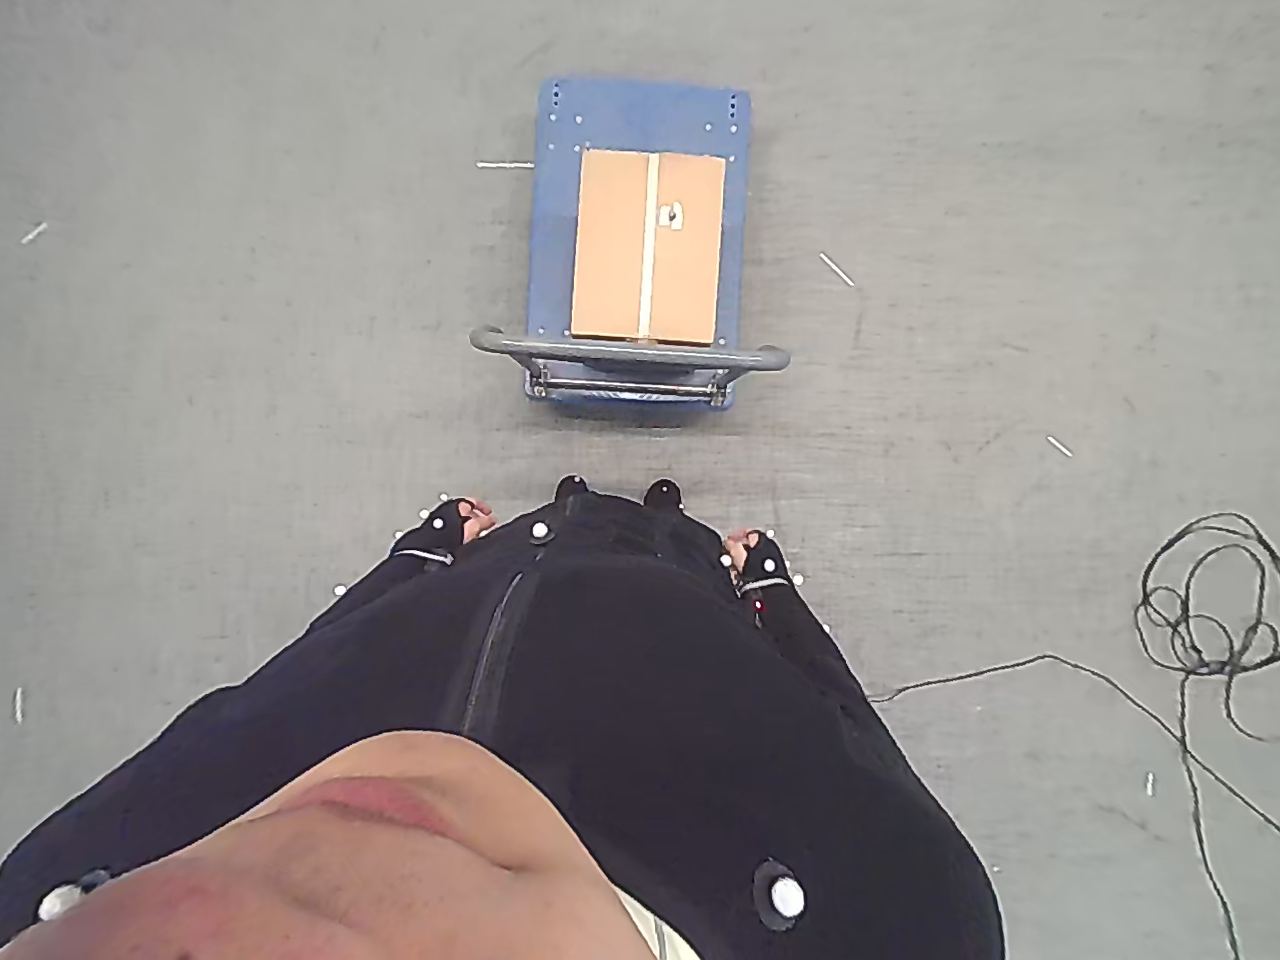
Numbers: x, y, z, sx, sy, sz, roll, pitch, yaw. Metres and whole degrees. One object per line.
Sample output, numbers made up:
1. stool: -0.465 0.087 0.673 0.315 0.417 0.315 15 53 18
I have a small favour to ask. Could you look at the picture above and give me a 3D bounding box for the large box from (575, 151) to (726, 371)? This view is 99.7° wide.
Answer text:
1. large box: 0.023 -0.496 1.304 0.320 0.320 0.408 4 89 -2
